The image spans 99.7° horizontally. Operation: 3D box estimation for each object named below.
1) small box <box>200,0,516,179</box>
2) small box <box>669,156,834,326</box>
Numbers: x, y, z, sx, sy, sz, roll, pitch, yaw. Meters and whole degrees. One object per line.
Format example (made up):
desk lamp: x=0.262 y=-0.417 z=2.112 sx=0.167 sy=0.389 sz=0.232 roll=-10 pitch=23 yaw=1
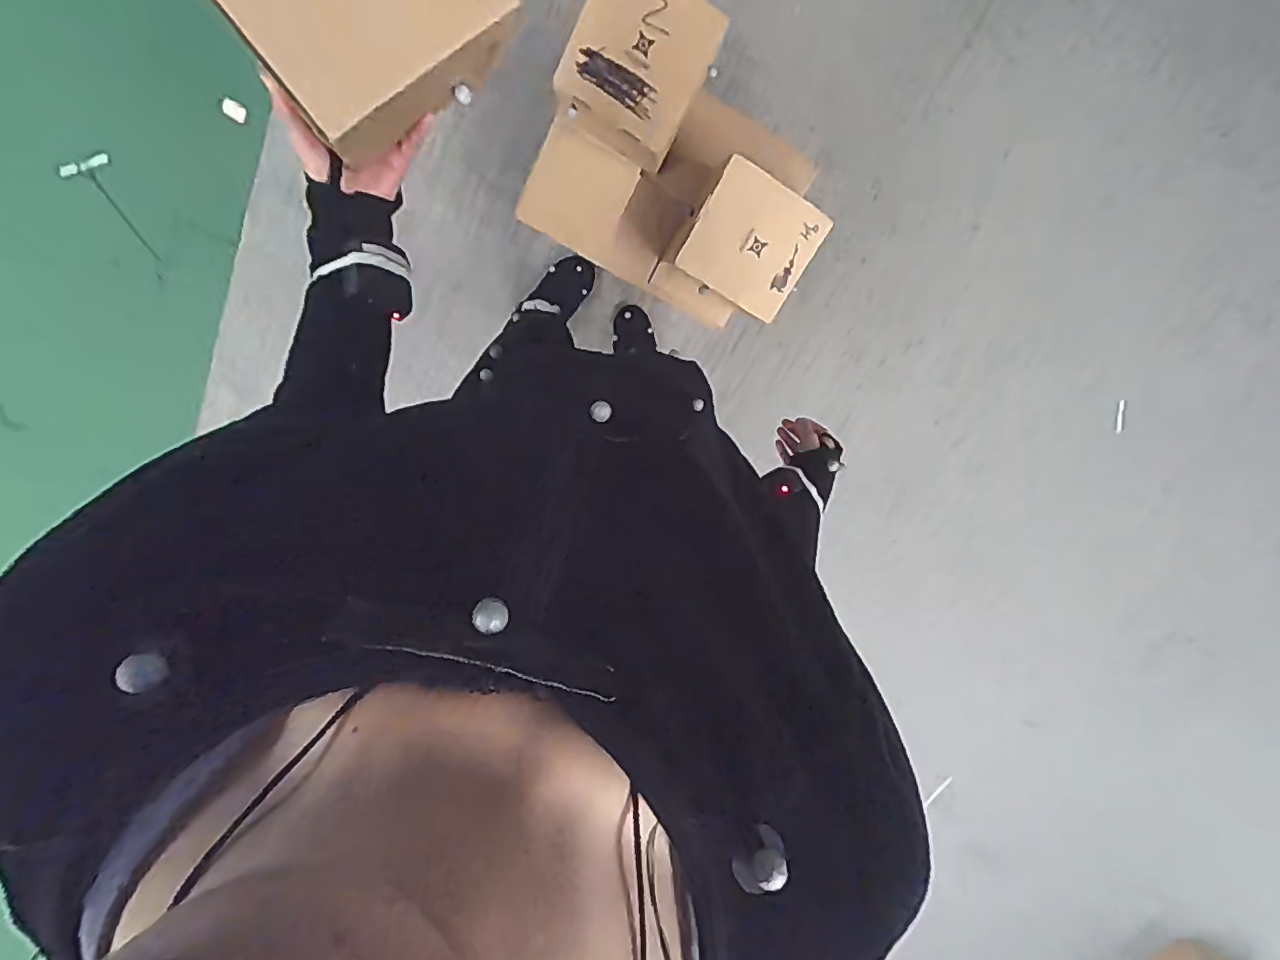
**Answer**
small box: x=-0.220 y=-0.362 z=0.398 sx=0.176 sy=0.168 sz=0.179 roll=-39 pitch=120 yaw=-1
small box: x=0.159 y=-0.363 z=0.845 sx=0.179 sy=0.176 sz=0.168 roll=29 pitch=109 yaw=-12
